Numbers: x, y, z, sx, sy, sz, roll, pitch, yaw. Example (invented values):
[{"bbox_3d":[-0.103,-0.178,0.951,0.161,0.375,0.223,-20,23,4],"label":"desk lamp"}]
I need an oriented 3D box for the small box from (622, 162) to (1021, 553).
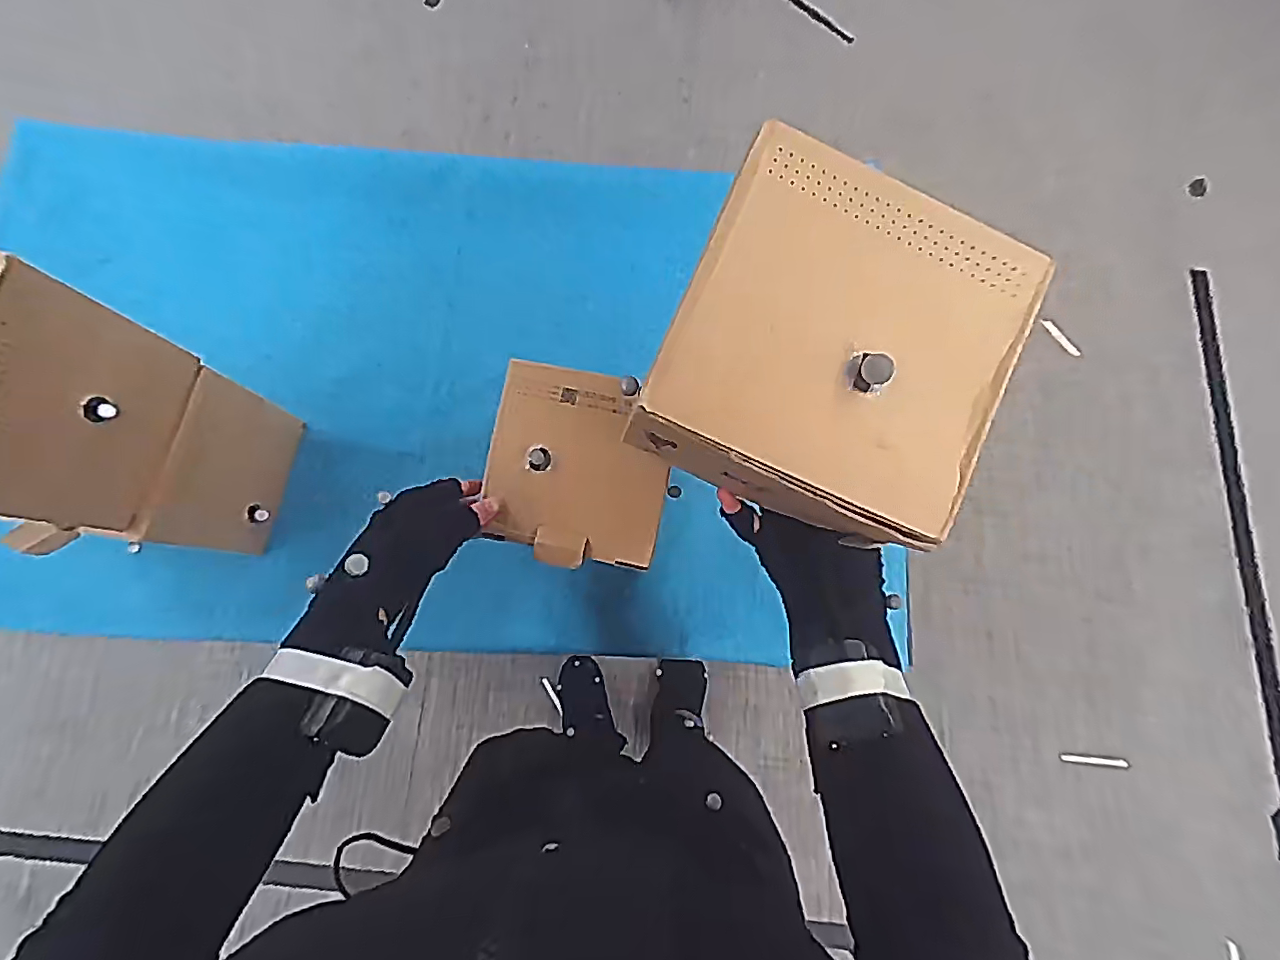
[{"bbox_3d":[0.103,-0.068,0.363,0.179,0.168,0.176,23,86,-4],"label":"small box"}]

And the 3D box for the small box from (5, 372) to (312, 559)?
[{"bbox_3d":[-0.510,-0.018,0.592,0.168,0.176,0.179,9,77,1],"label":"small box"}]

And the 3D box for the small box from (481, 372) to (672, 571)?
[{"bbox_3d":[-0.052,-0.005,0.580,0.168,0.179,0.176,12,85,2],"label":"small box"}]

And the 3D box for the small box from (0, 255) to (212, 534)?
[{"bbox_3d":[-0.515,-0.067,0.435,0.168,0.176,0.179,13,79,2],"label":"small box"}]
